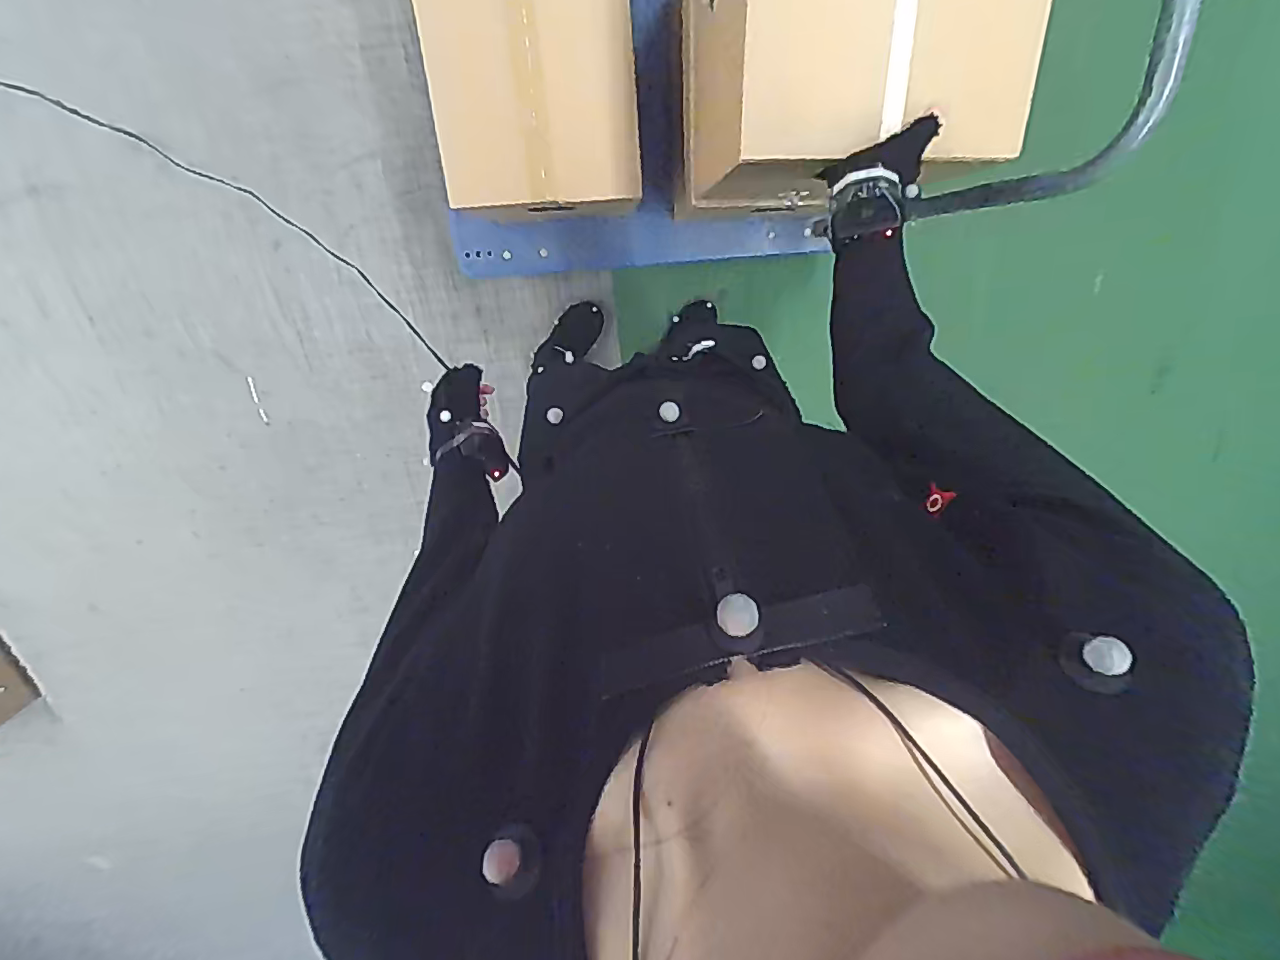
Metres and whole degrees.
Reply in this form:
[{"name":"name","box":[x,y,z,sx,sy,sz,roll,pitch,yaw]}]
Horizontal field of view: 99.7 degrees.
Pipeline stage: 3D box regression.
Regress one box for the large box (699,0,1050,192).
[{"name":"large box","box":[0.241,-0.589,0.637,0.320,0.320,0.408,-2,110,-3]}]
